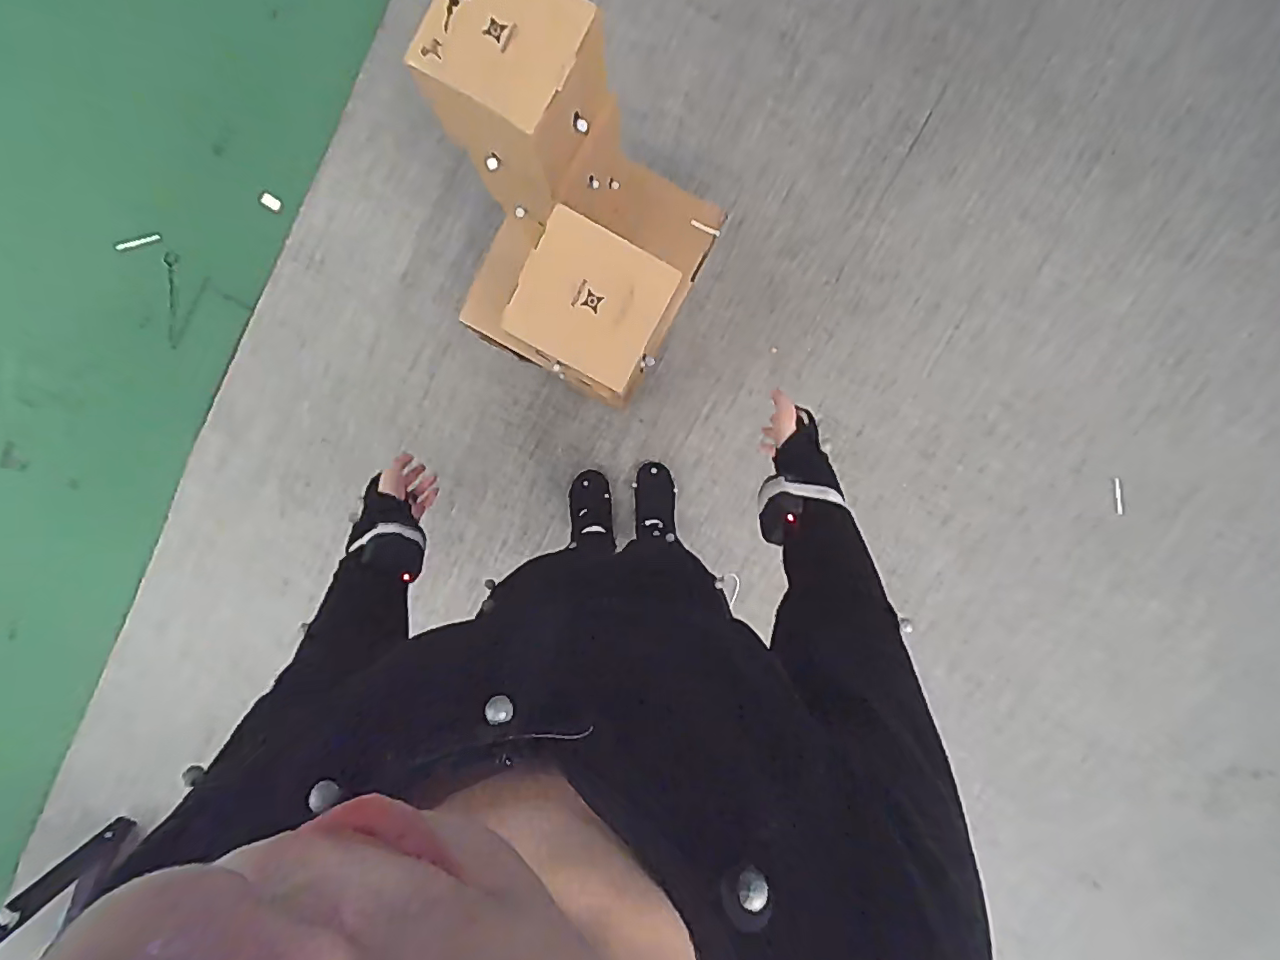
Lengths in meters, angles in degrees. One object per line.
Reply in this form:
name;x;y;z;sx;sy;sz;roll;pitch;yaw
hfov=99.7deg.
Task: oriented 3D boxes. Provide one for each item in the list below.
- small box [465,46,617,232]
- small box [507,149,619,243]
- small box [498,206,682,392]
small box;-0.149;-0.525;0.875;0.168;0.176;0.179;30;93;-2
small box;-0.151;-0.552;1.039;0.168;0.176;0.179;28;92;-2
small box;-0.064;-0.228;0.739;0.179;0.176;0.168;28;96;-5
